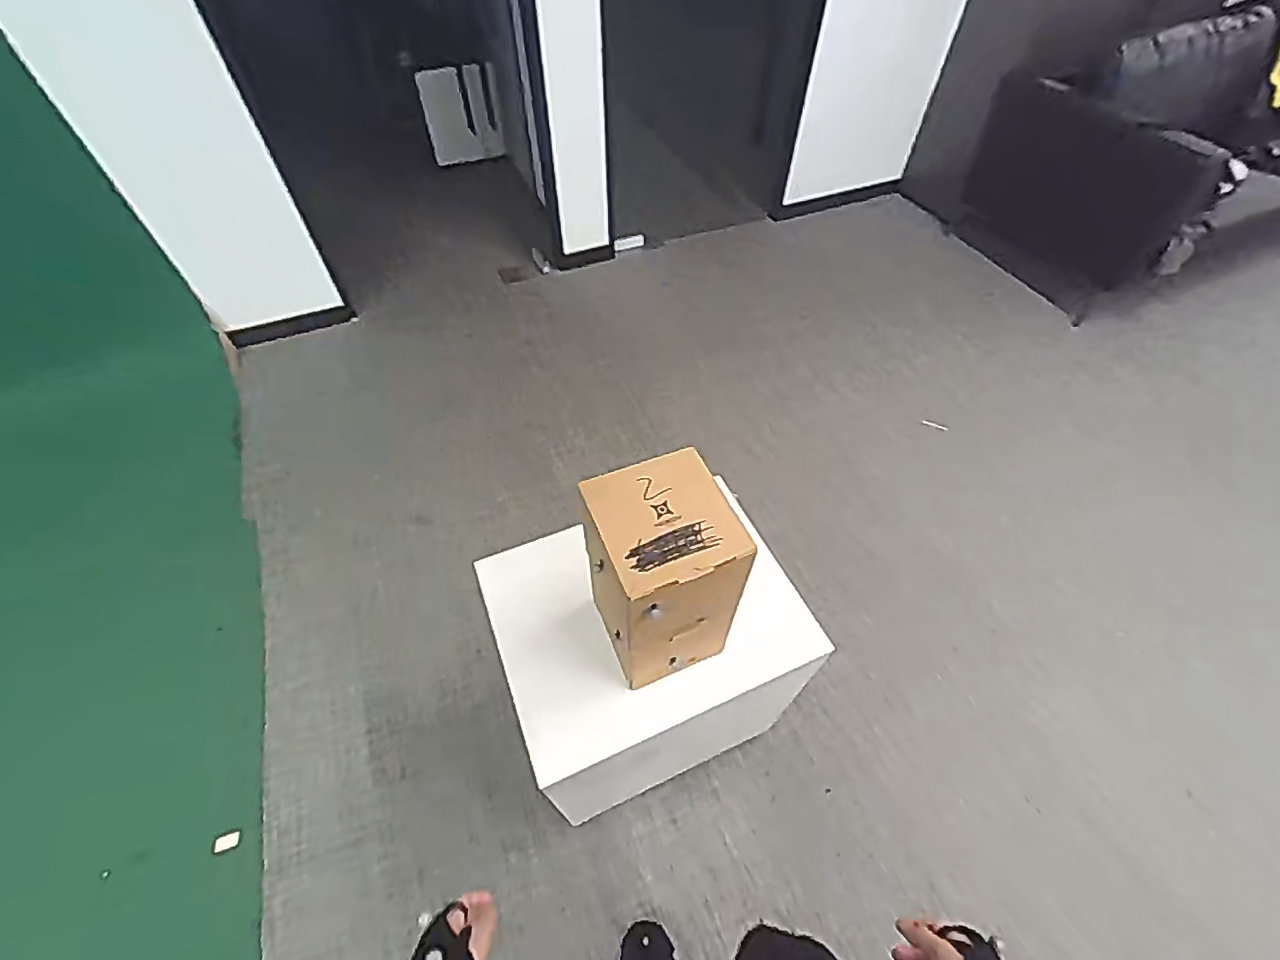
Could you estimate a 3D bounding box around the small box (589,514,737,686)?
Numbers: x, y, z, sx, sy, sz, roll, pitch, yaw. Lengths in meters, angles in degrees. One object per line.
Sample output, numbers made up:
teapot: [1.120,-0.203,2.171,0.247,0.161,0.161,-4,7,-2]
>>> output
small box: [0.027,0.188,0.840,0.168,0.176,0.179,-19,54,-14]
